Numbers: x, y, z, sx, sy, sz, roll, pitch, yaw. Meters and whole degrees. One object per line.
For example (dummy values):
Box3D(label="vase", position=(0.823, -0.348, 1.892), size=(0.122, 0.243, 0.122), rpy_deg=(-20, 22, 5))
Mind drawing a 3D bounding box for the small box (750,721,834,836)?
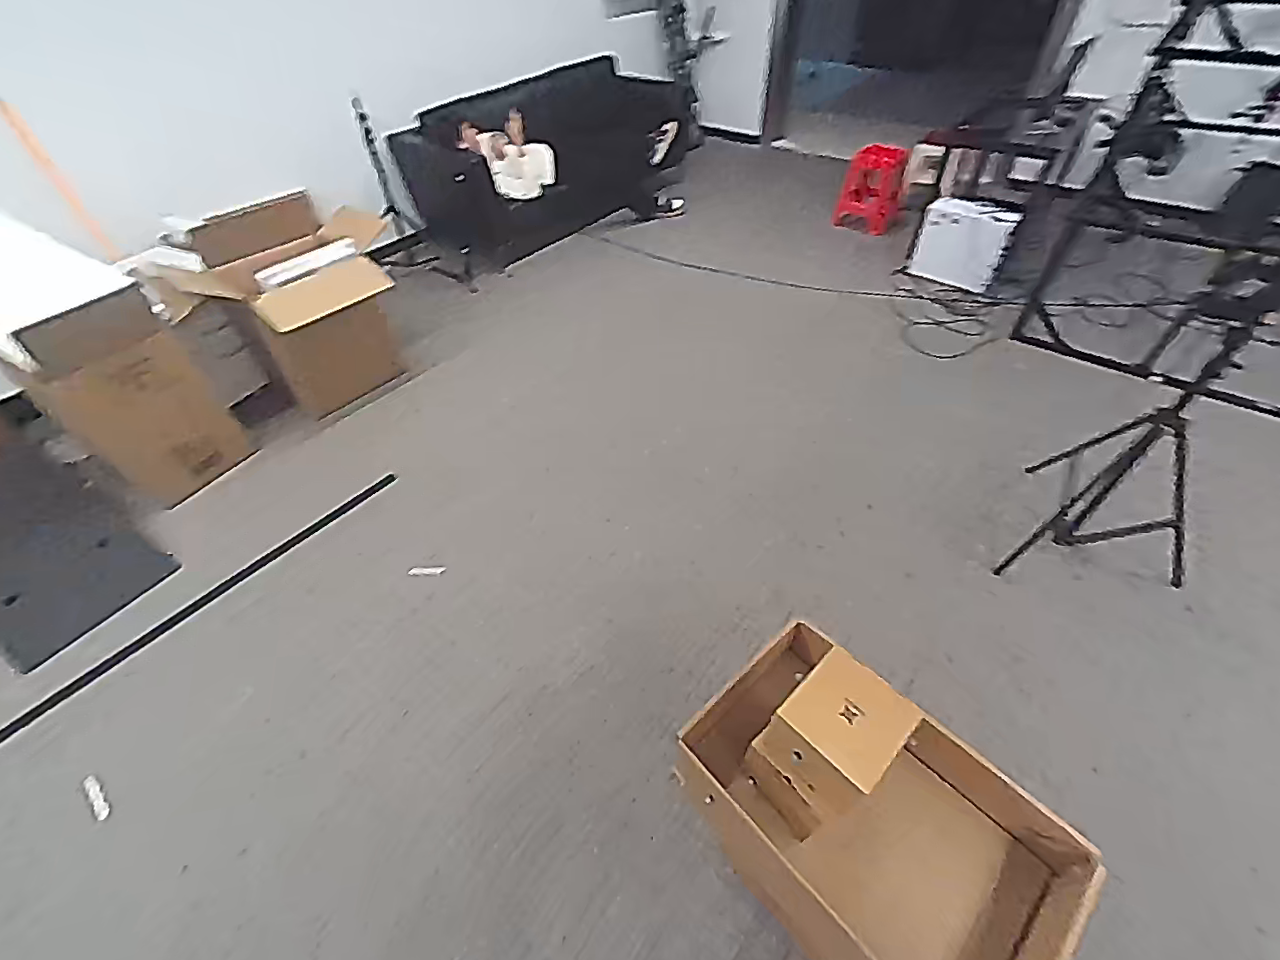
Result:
Box3D(label="small box", position=(0.327, 0.536, 1.032), size=(0.179, 0.176, 0.168), rpy_deg=(-30, 53, -26))

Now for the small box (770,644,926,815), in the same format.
Box3D(label="small box", position=(0.339, 0.423, 0.914), size=(0.179, 0.176, 0.168), rpy_deg=(-33, 55, -28))
